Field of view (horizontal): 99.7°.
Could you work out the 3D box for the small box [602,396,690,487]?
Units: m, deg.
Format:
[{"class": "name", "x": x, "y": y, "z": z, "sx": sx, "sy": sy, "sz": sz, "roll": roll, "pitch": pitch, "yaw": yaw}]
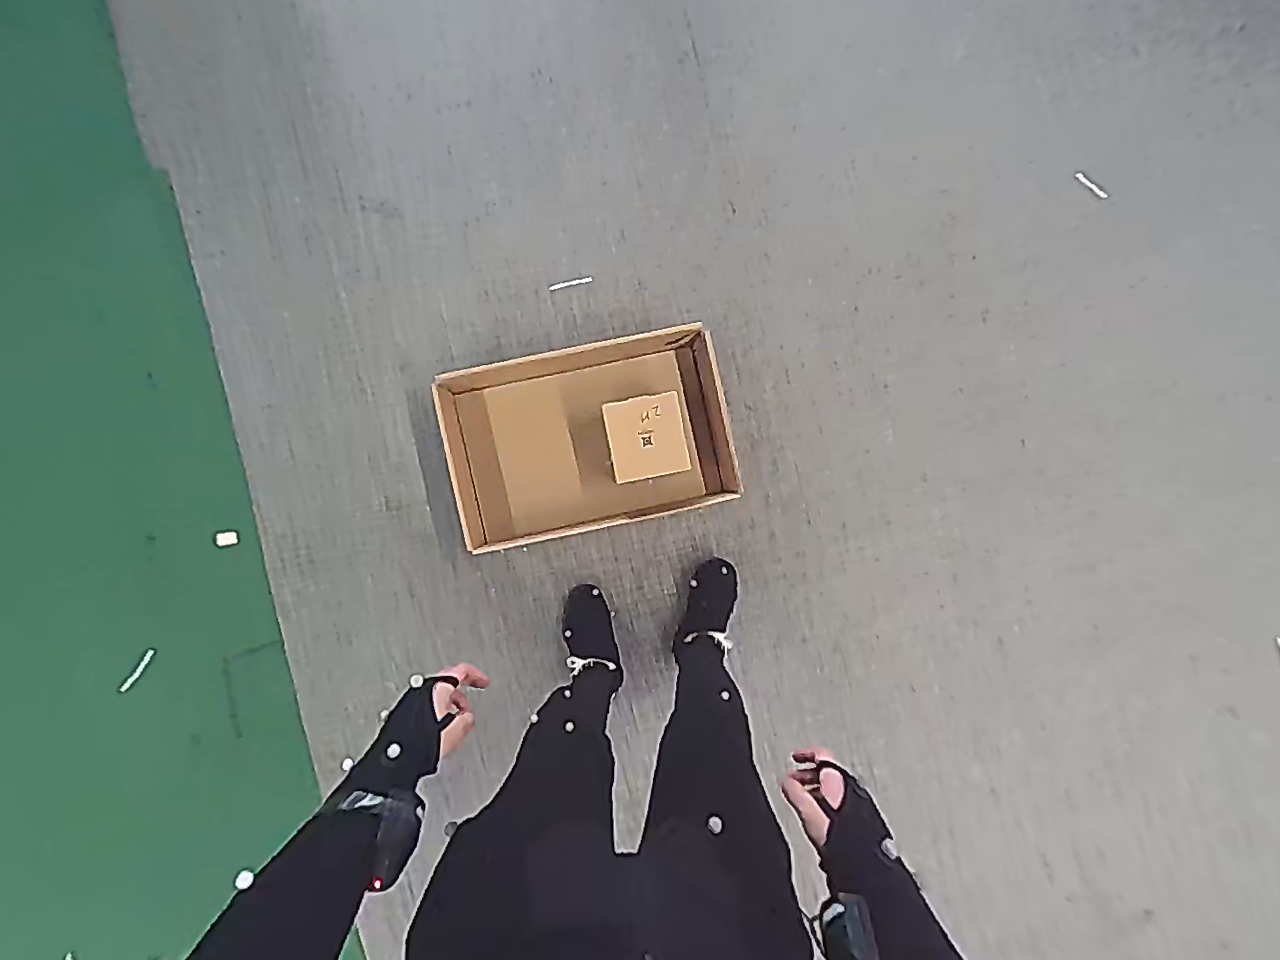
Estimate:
[{"class": "small box", "x": 0.011, "y": -0.083, "z": 1.232, "sx": 0.168, "sy": 0.176, "sz": 0.179, "roll": -10, "pitch": 90, "yaw": -4}]
